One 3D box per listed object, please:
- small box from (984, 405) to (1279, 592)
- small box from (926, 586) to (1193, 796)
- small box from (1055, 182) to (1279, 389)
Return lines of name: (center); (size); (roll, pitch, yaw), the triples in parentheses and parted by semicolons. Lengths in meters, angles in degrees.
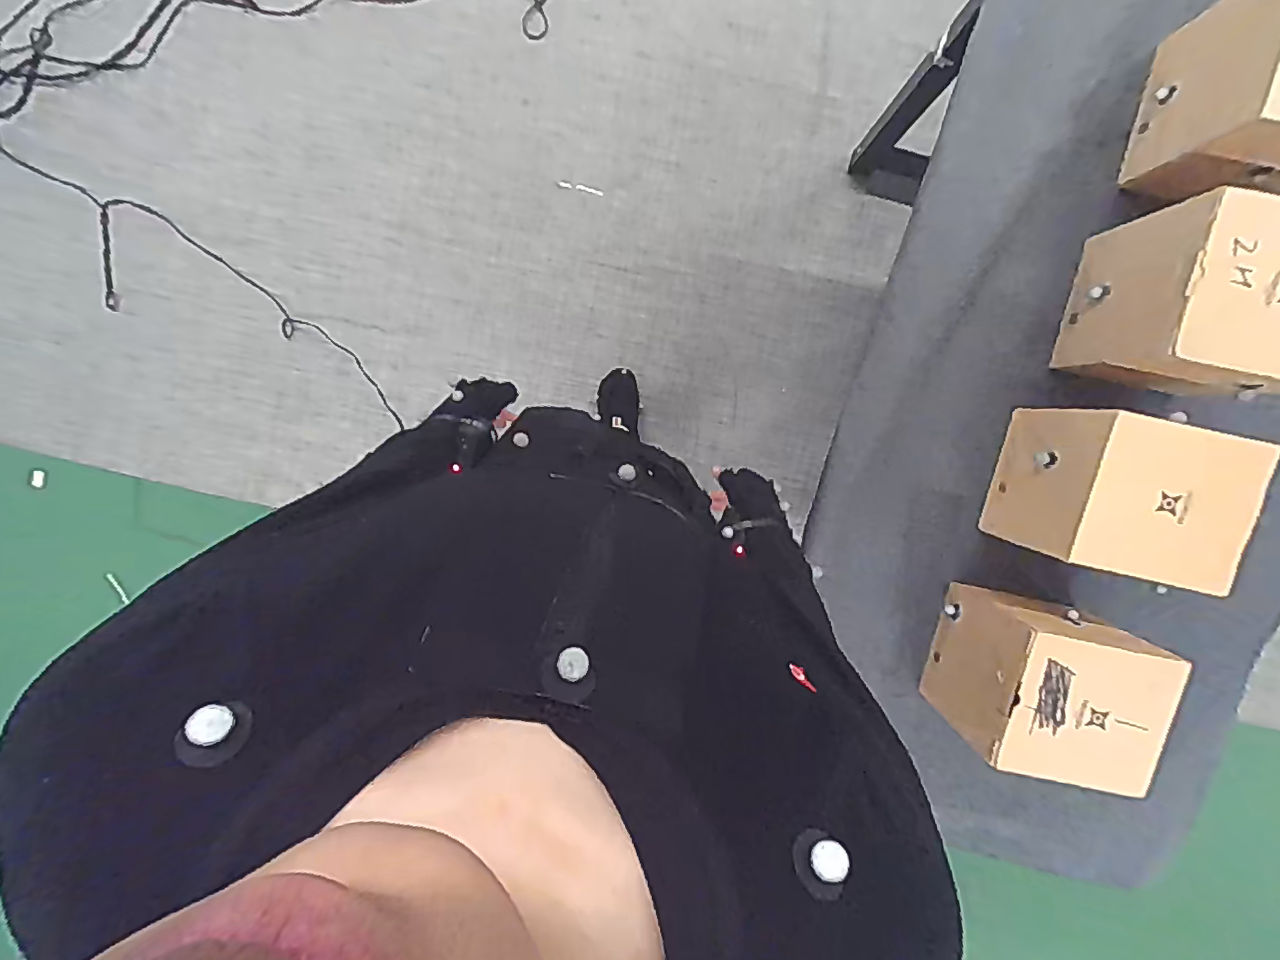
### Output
small box: (0.550, 0.012, 0.633); (0.179, 0.176, 0.168); (12, 98, -1)
small box: (0.490, 0.242, 0.665); (0.179, 0.176, 0.168); (12, 98, -1)
small box: (0.625, -0.197, 0.599); (0.179, 0.176, 0.168); (11, 98, 0)
